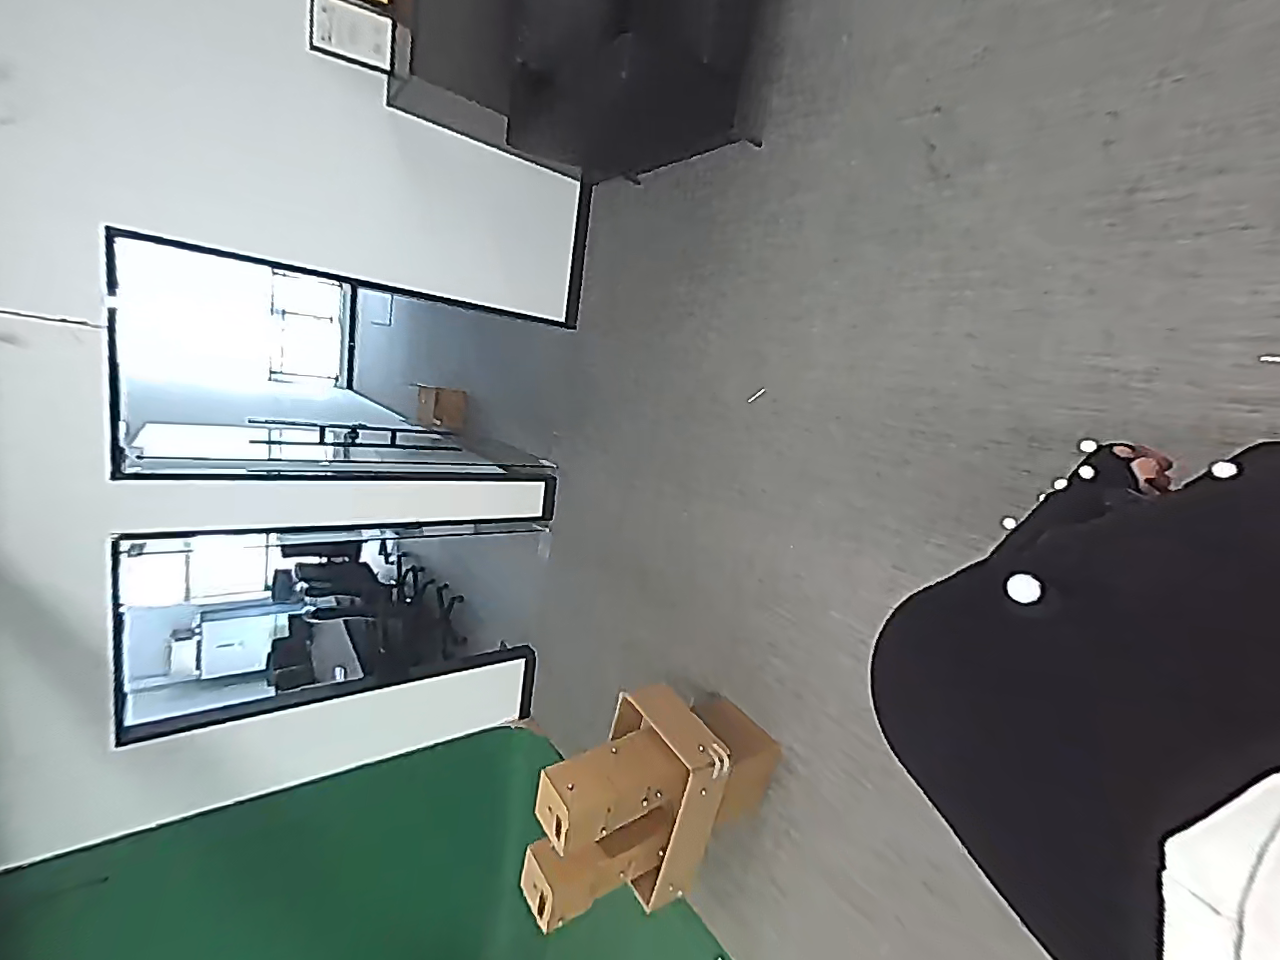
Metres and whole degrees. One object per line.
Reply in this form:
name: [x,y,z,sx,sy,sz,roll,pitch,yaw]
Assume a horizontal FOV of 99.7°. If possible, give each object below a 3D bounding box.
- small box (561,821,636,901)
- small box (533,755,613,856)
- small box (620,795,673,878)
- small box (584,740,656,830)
small box: [-0.140,1.246,1.818,0.179,0.176,0.168,31,113,46]
small box: [-0.202,0.970,1.631,0.179,0.176,0.168,28,112,48]
small box: [-0.013,1.246,1.916,0.179,0.176,0.168,31,115,47]
small box: [-0.077,0.967,1.738,0.179,0.176,0.168,28,112,47]
